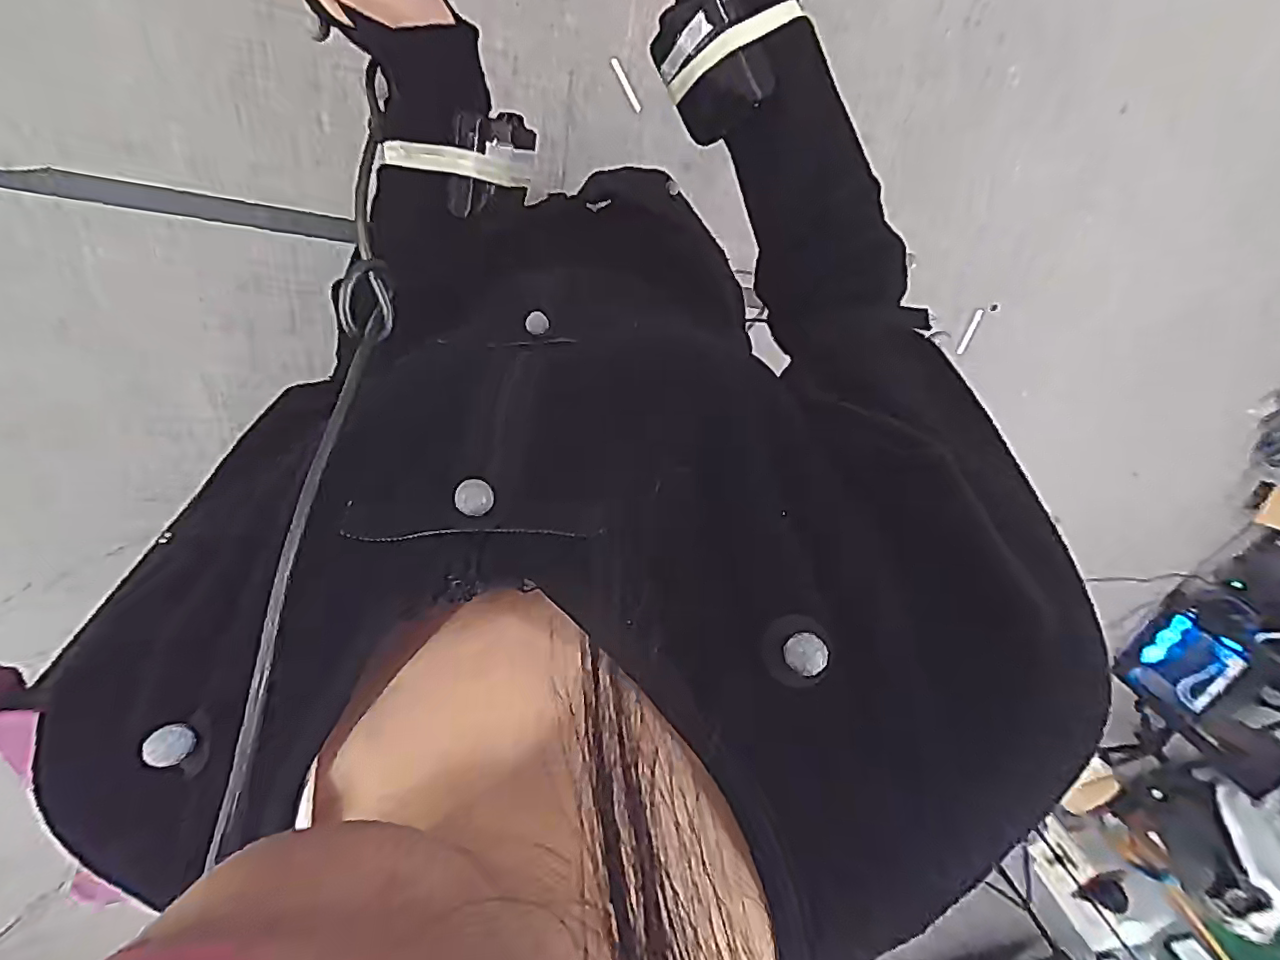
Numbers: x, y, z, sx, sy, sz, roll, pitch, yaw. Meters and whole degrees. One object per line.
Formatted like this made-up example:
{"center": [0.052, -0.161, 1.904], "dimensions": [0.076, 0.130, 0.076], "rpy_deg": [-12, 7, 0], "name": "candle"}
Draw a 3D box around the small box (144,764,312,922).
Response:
{"center": [-0.702, 0.626, 0.946], "dimensions": [0.179, 0.176, 0.168], "rpy_deg": [4, 122, -17], "name": "small box"}
